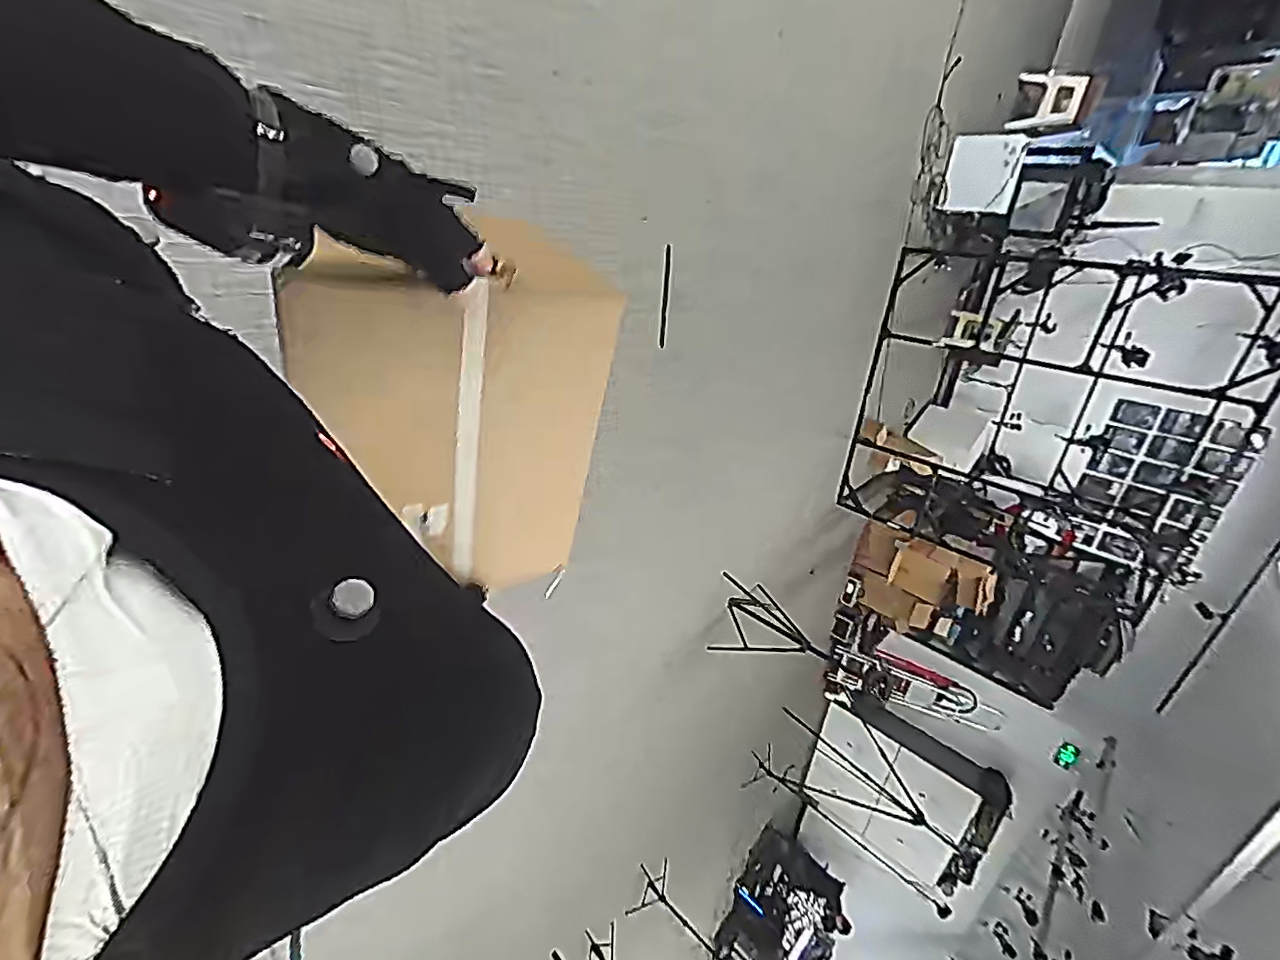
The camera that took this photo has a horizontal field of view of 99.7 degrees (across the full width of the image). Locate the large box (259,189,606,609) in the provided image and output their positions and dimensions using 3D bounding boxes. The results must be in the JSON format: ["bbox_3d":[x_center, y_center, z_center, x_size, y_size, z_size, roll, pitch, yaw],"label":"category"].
[{"bbox_3d":[-0.279,-0.109,0.705,0.320,0.320,0.408,-6,129,-31],"label":"large box"}]
